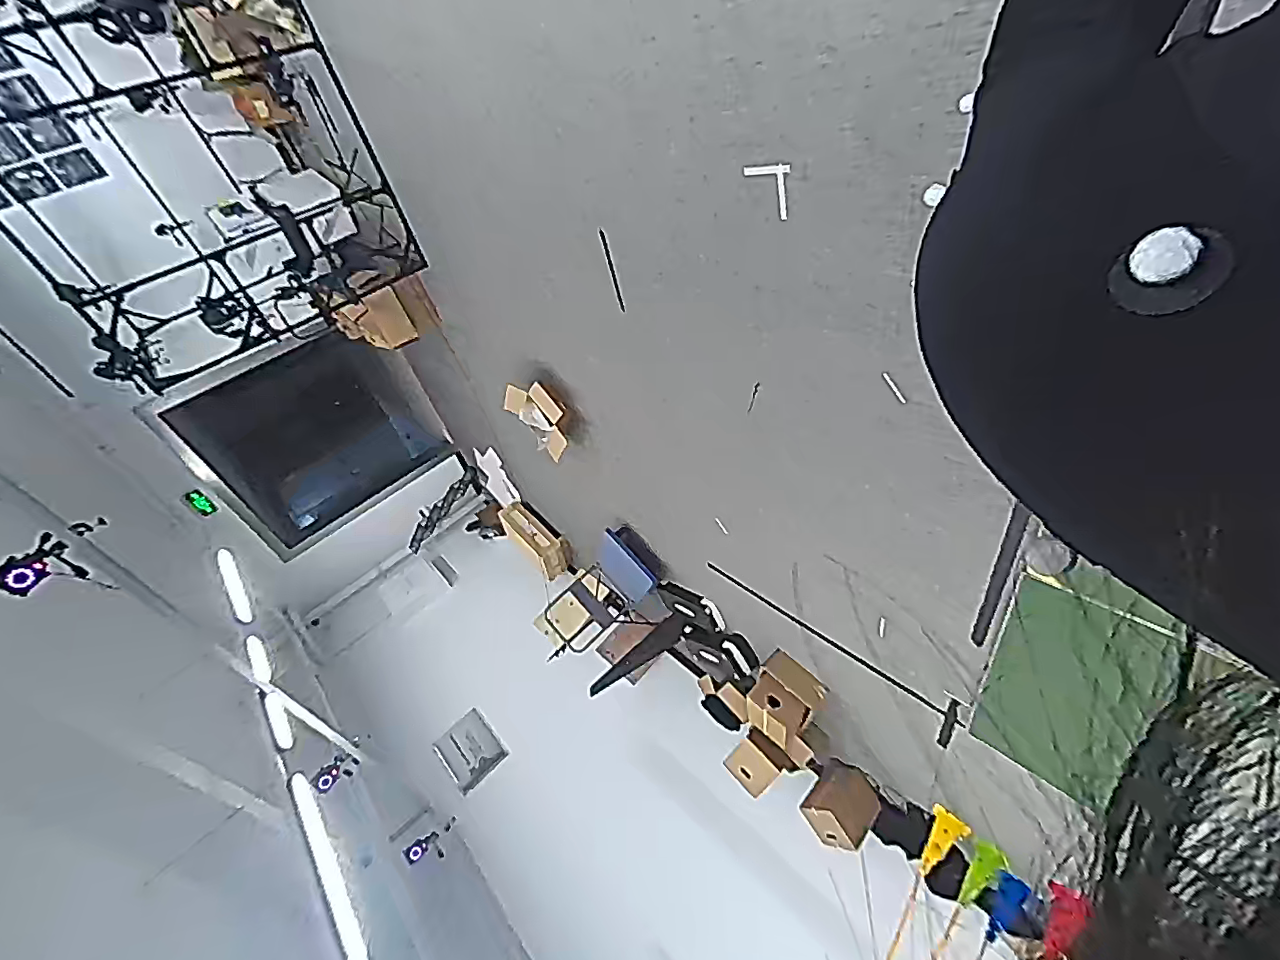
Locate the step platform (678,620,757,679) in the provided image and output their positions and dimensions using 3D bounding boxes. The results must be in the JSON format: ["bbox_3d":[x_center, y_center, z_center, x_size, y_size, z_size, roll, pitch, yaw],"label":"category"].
[{"bbox_3d":[0.583,1.316,4.219,0.286,0.204,0.684,58,154,-14],"label":"step platform"}]
